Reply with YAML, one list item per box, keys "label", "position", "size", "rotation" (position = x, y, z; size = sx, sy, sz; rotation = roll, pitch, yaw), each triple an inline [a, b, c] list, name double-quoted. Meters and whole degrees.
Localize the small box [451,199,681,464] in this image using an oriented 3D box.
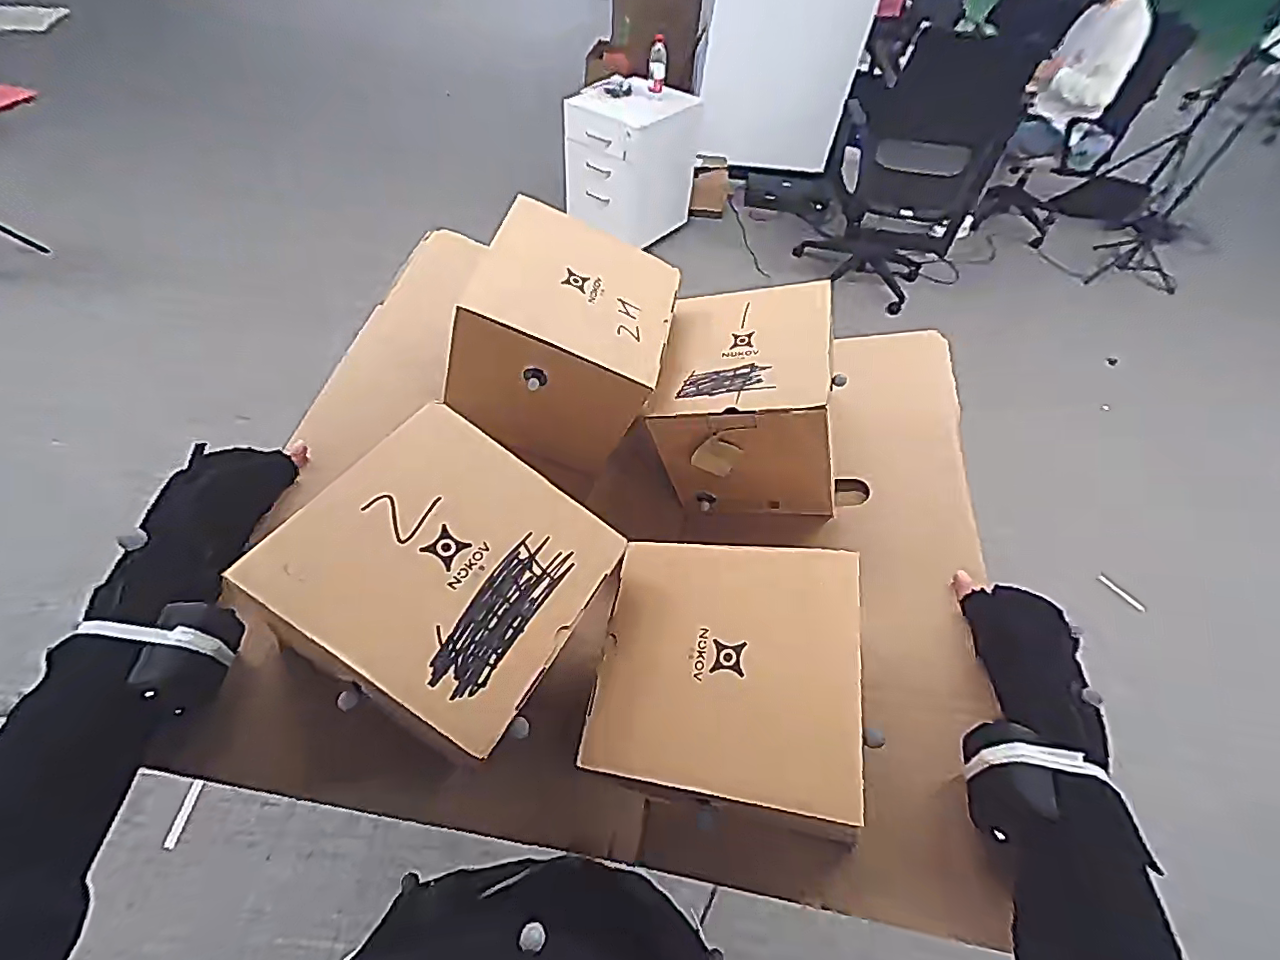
- label: "small box"
  position: [-0.081, -0.140, 0.561]
  size: [0.179, 0.176, 0.168]
  rotation: [22, 57, -13]
